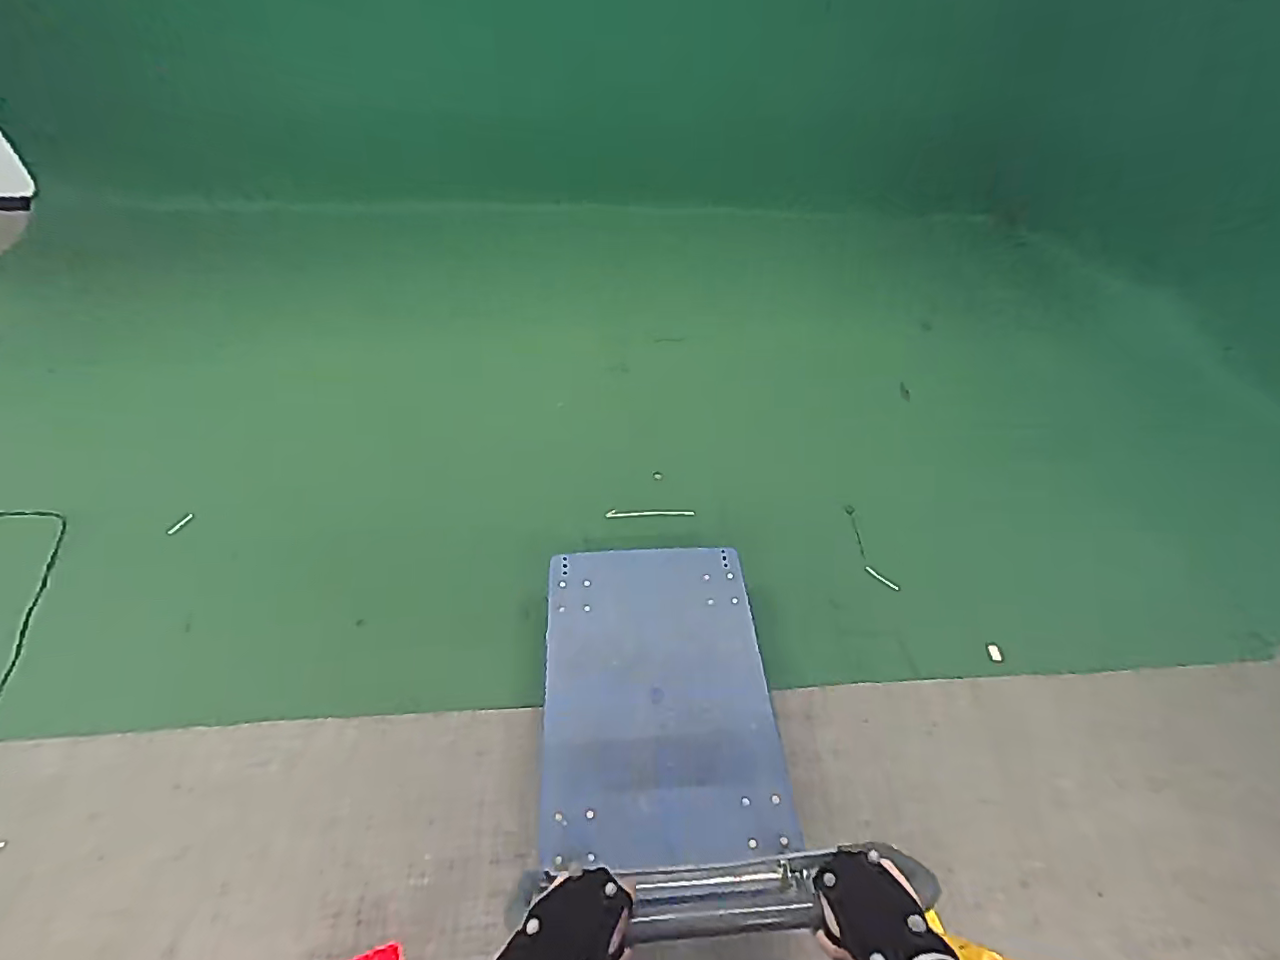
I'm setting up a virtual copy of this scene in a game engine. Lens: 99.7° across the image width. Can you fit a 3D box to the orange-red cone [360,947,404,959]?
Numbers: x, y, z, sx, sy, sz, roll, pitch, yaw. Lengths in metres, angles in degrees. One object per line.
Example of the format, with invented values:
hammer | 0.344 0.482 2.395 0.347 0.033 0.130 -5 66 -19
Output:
orange-red cone | -0.573 0.984 0.958 0.199 0.360 0.198 -14 52 -13
